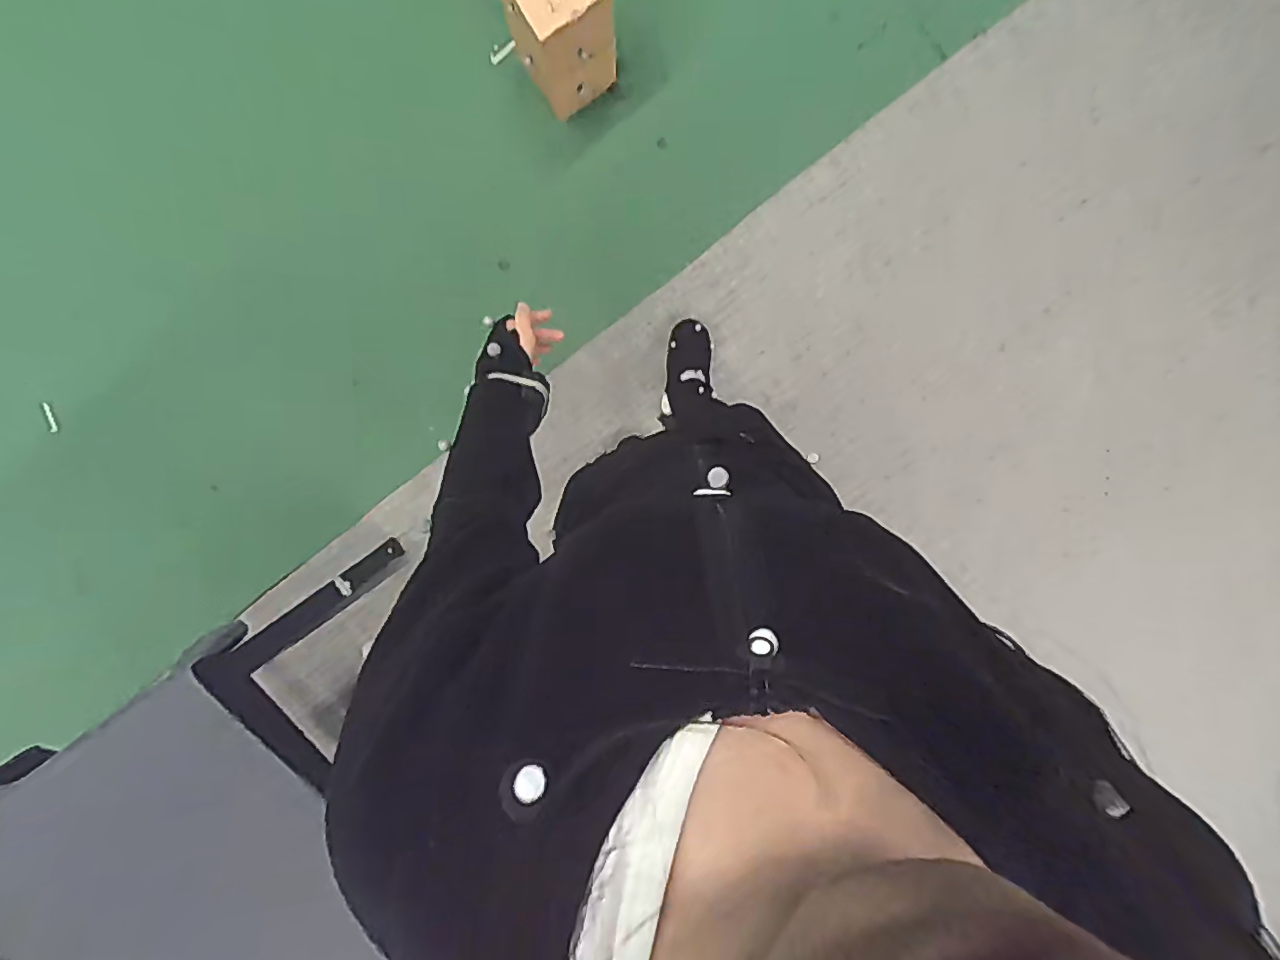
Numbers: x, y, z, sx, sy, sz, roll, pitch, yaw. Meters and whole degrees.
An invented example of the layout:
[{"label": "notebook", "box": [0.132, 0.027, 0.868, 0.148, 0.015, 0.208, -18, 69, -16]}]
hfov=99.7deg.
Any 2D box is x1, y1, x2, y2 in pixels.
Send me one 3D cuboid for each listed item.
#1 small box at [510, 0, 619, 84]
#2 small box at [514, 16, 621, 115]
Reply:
[{"label": "small box", "box": [-0.156, -0.948, 1.071, 0.168, 0.176, 0.179, -33, 99, 6]}, {"label": "small box", "box": [-0.154, -0.980, 1.233, 0.168, 0.176, 0.179, -36, 98, 6]}]
